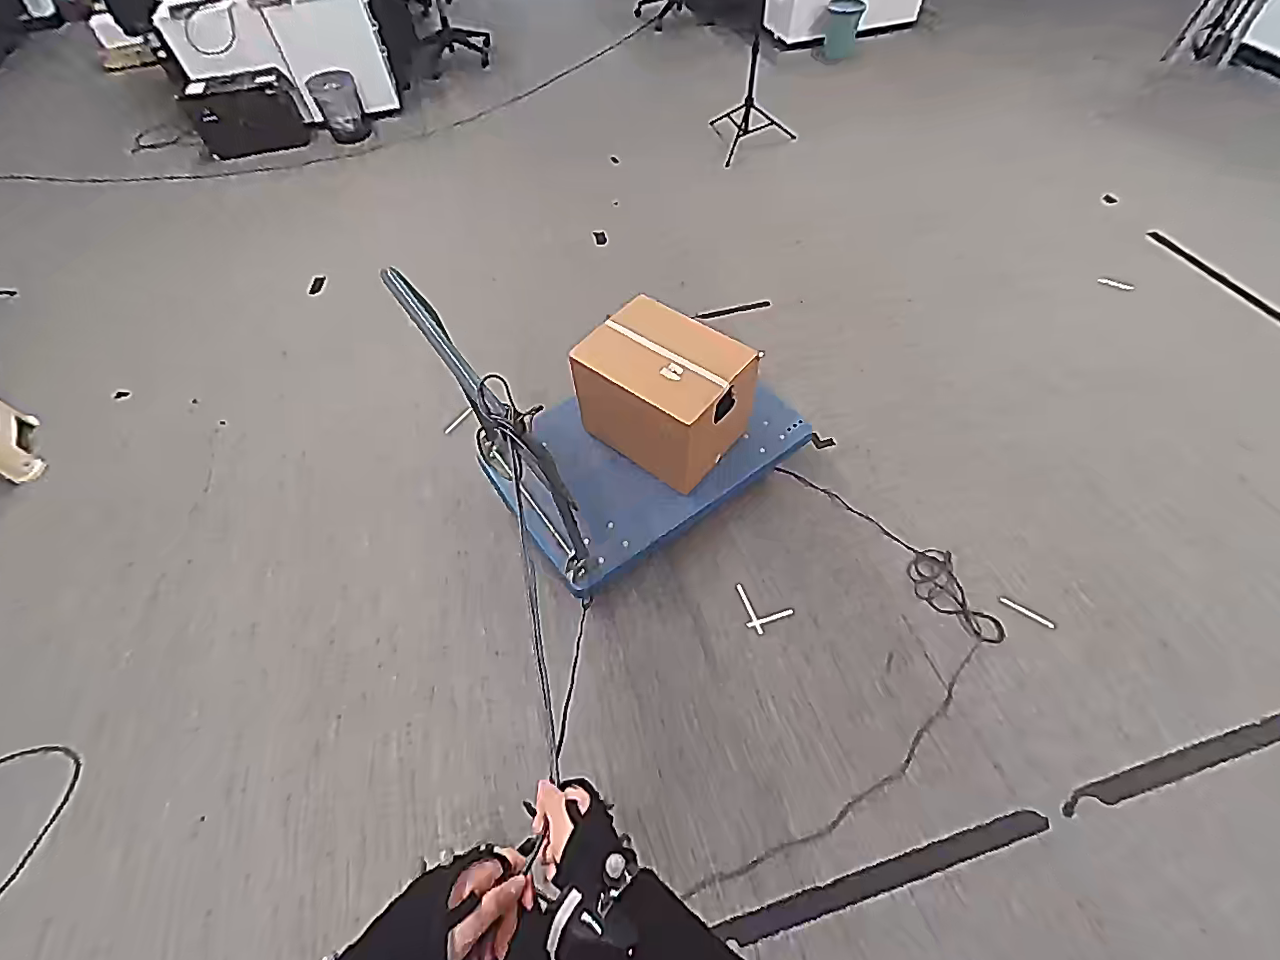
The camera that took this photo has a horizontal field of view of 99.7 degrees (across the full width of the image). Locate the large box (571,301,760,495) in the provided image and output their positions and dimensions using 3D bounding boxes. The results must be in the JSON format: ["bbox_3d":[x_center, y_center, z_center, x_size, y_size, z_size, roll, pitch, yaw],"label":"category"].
[{"bbox_3d":[0.066,-0.233,1.530,0.408,0.320,0.320,34,64,22],"label":"large box"}]
